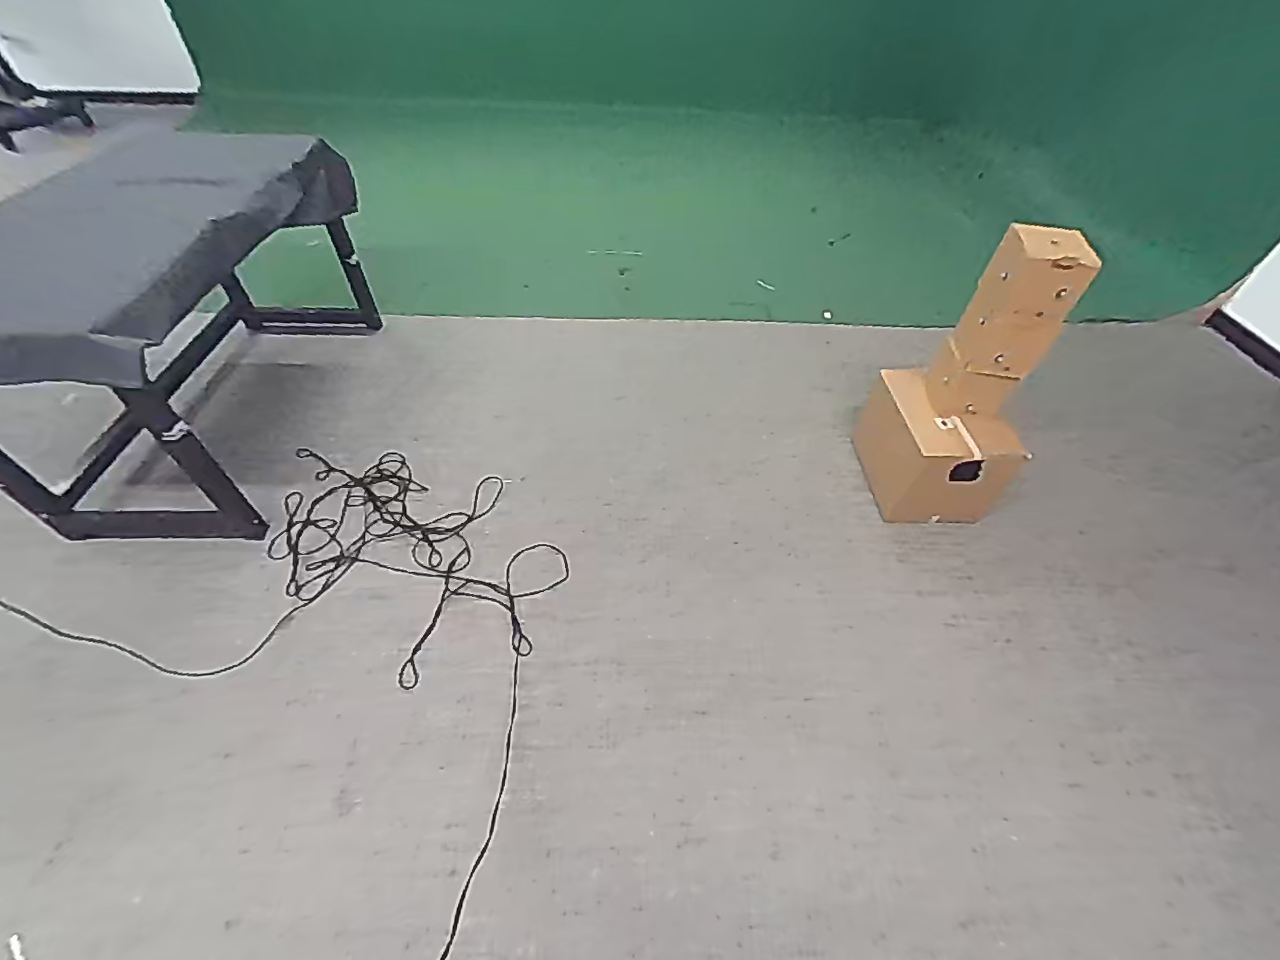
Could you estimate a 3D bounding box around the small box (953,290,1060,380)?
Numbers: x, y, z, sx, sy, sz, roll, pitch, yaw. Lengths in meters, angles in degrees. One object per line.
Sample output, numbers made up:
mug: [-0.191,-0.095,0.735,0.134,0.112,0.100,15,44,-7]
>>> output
small box: [0.994,-0.403,1.487,0.168,0.176,0.179,8,49,5]

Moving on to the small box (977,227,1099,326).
small box: [0.992,-0.513,1.367,0.168,0.176,0.179,10,49,5]

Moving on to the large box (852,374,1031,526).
large box: [0.941,-0.100,1.759,0.320,0.320,0.408,-1,49,-1]
